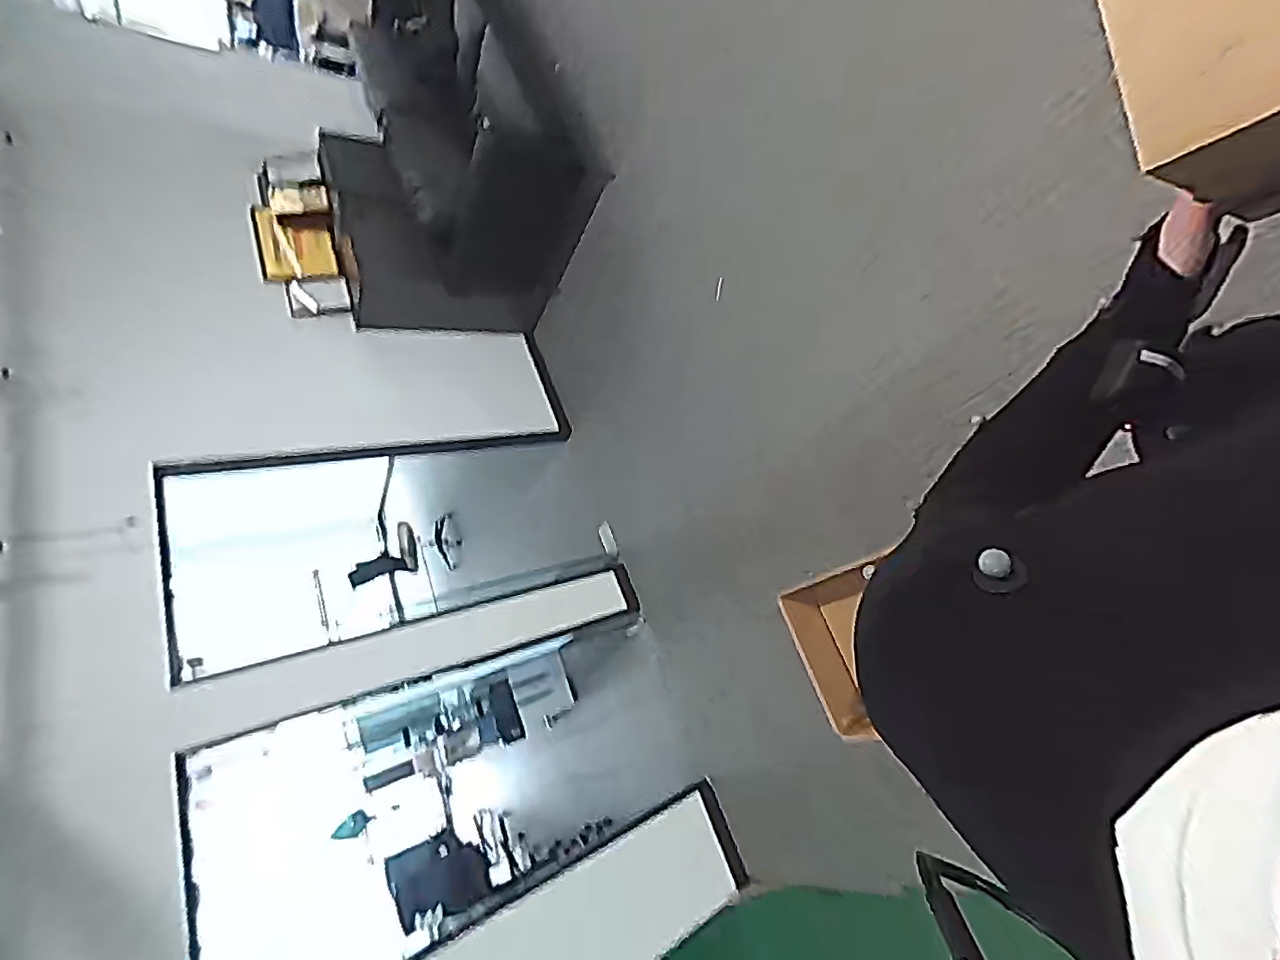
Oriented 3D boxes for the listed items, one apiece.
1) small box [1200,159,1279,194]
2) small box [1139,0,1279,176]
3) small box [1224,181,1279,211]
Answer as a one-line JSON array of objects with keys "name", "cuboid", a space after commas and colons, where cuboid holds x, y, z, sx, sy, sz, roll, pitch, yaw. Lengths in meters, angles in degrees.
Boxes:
[{"name": "small box", "cuboid": [0.487, -0.308, 0.348, 0.179, 0.176, 0.168, -10, 96, 54]}, {"name": "small box", "cuboid": [0.361, -0.270, 0.249, 0.179, 0.176, 0.168, -12, 94, 54]}, {"name": "small box", "cuboid": [0.612, -0.344, 0.447, 0.179, 0.176, 0.168, -9, 97, 53]}]
